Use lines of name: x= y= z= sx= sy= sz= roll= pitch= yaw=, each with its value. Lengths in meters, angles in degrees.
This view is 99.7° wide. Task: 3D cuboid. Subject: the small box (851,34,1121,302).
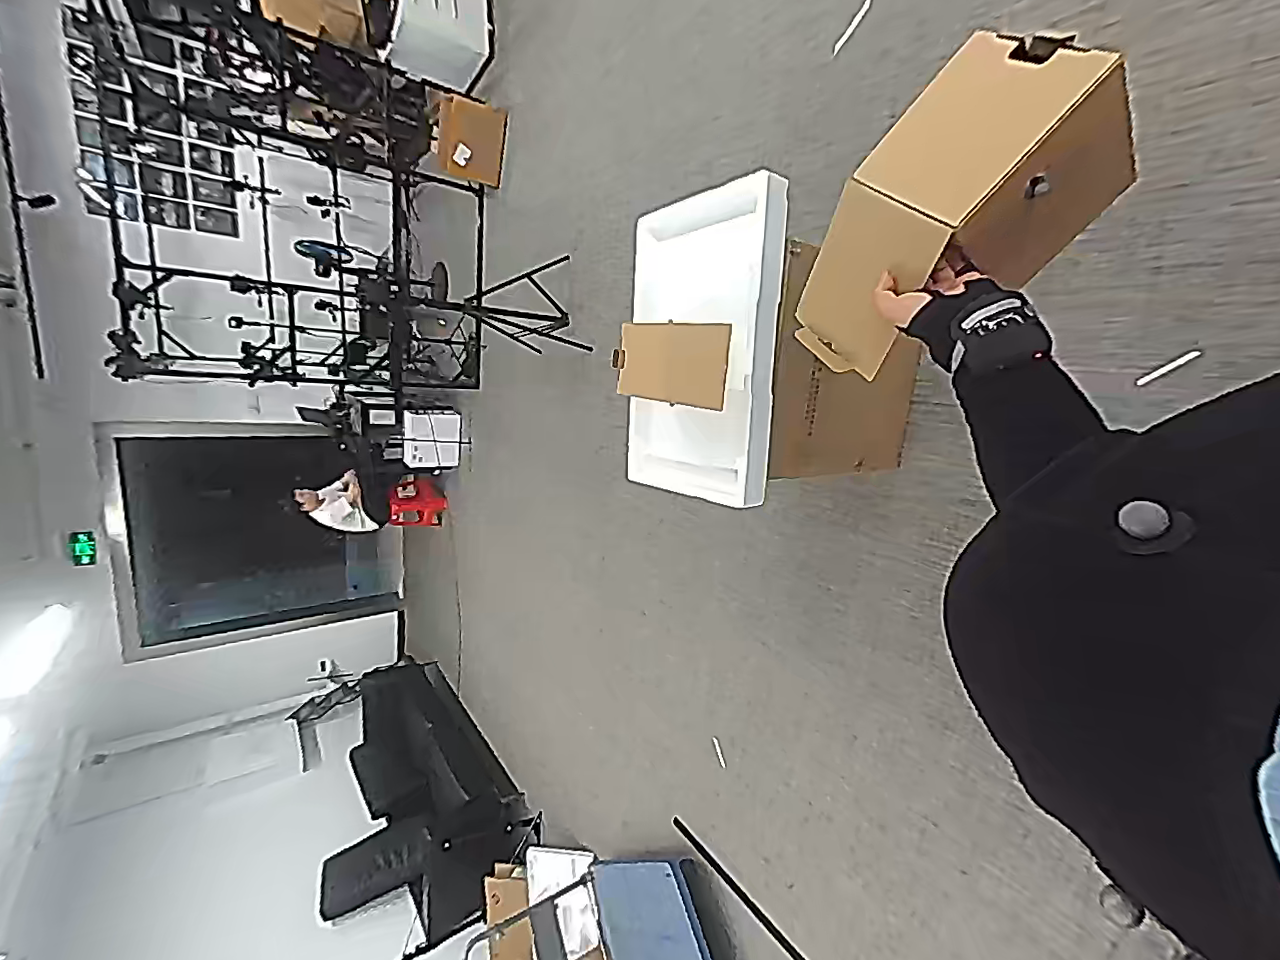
small box: x=0.380 y=-0.332 z=0.597 sx=0.179 sy=0.176 sz=0.168 roll=-47 pitch=46 yaw=21
